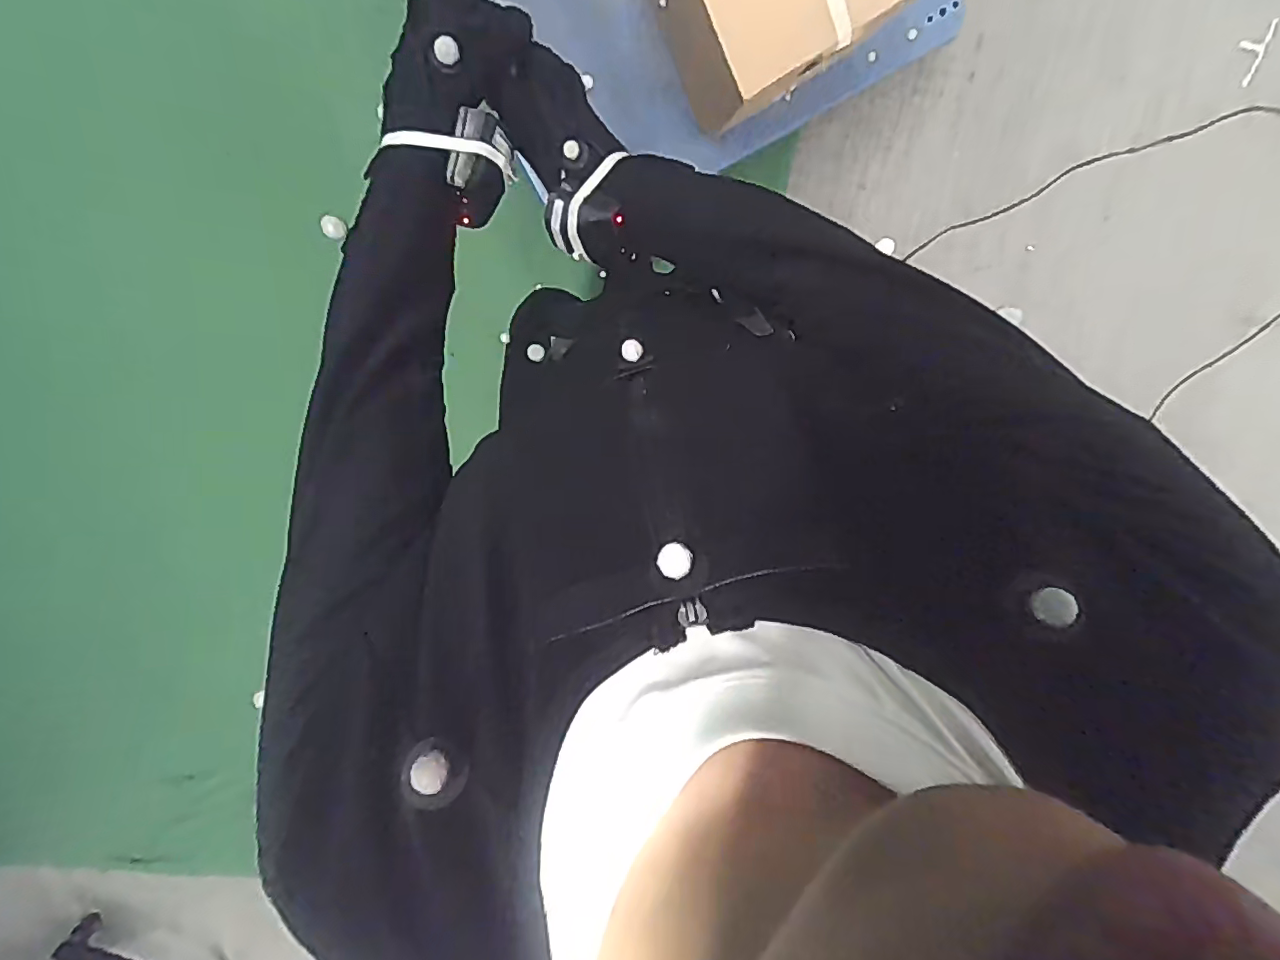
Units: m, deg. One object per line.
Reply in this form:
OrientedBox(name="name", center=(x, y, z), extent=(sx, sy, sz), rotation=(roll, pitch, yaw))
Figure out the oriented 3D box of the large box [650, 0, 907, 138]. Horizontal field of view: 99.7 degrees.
OrientedBox(name="large box", center=(0.180, -0.842, 0.838), extent=(0.320, 0.320, 0.408), rotation=(-28, 111, 8))
